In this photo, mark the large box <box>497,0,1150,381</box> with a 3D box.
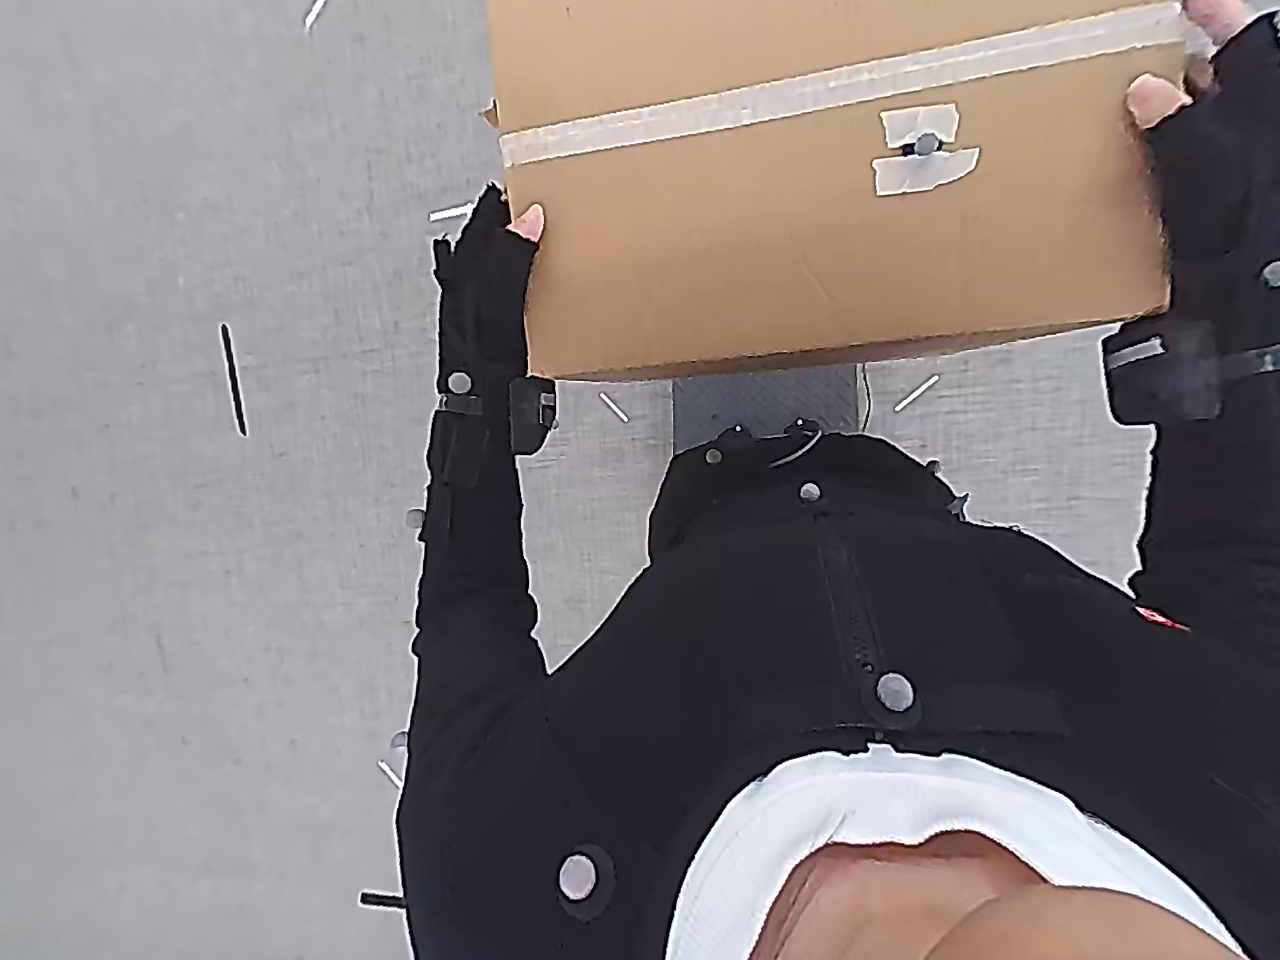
[{"bbox_3d":[0.128,-0.272,0.499,0.408,0.320,0.320,-4,99,10],"label":"large box"}]
